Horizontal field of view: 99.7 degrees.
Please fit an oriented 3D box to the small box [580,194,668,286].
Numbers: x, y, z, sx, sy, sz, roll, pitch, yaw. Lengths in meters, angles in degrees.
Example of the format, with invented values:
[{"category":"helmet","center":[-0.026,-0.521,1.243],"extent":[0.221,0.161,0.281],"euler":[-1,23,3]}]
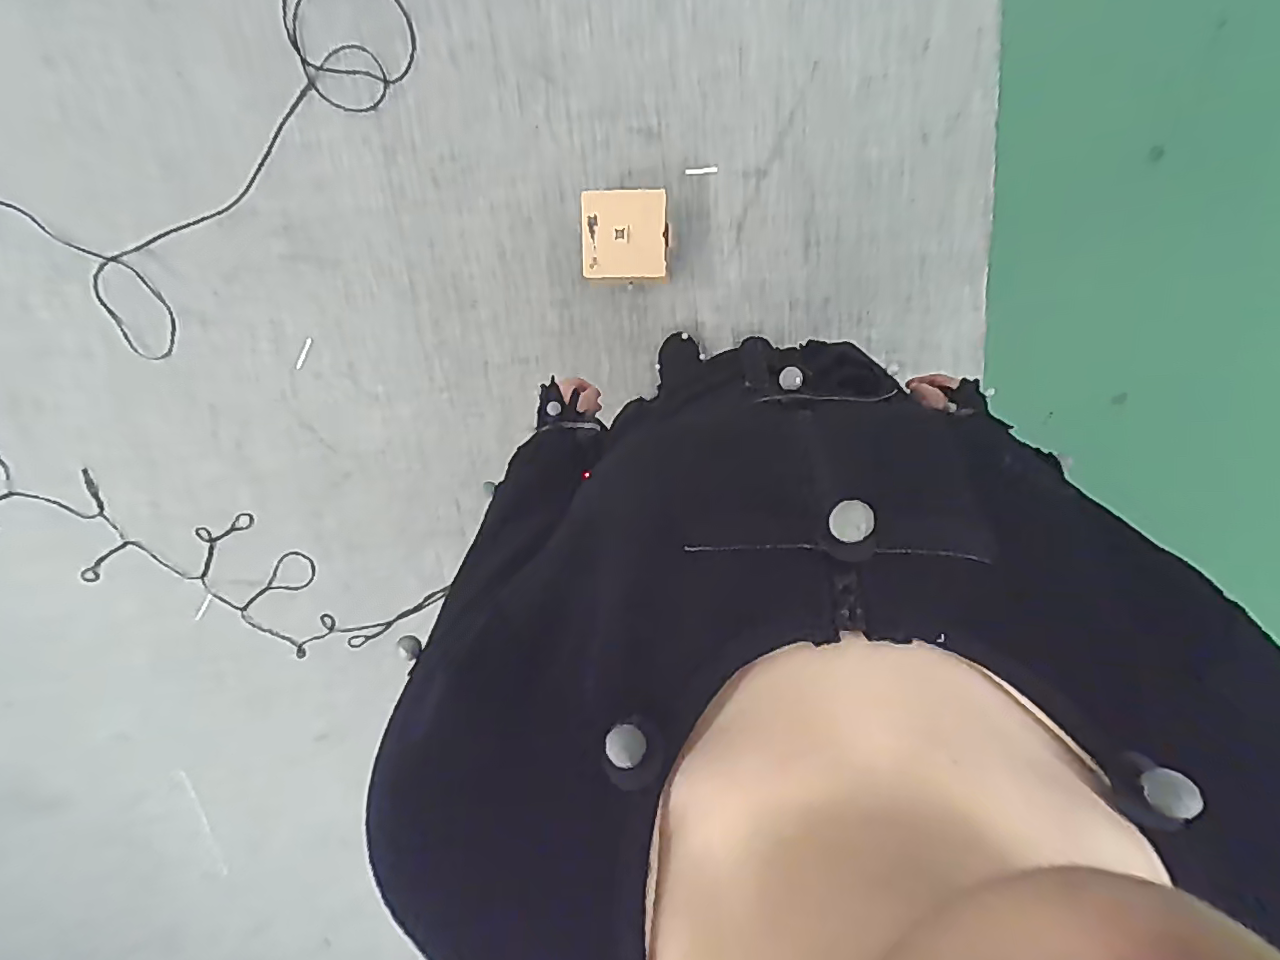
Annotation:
[{"category":"small box","center":[-0.028,-0.517,1.179],"extent":[0.179,0.176,0.168],"euler":[1,107,5]}]
